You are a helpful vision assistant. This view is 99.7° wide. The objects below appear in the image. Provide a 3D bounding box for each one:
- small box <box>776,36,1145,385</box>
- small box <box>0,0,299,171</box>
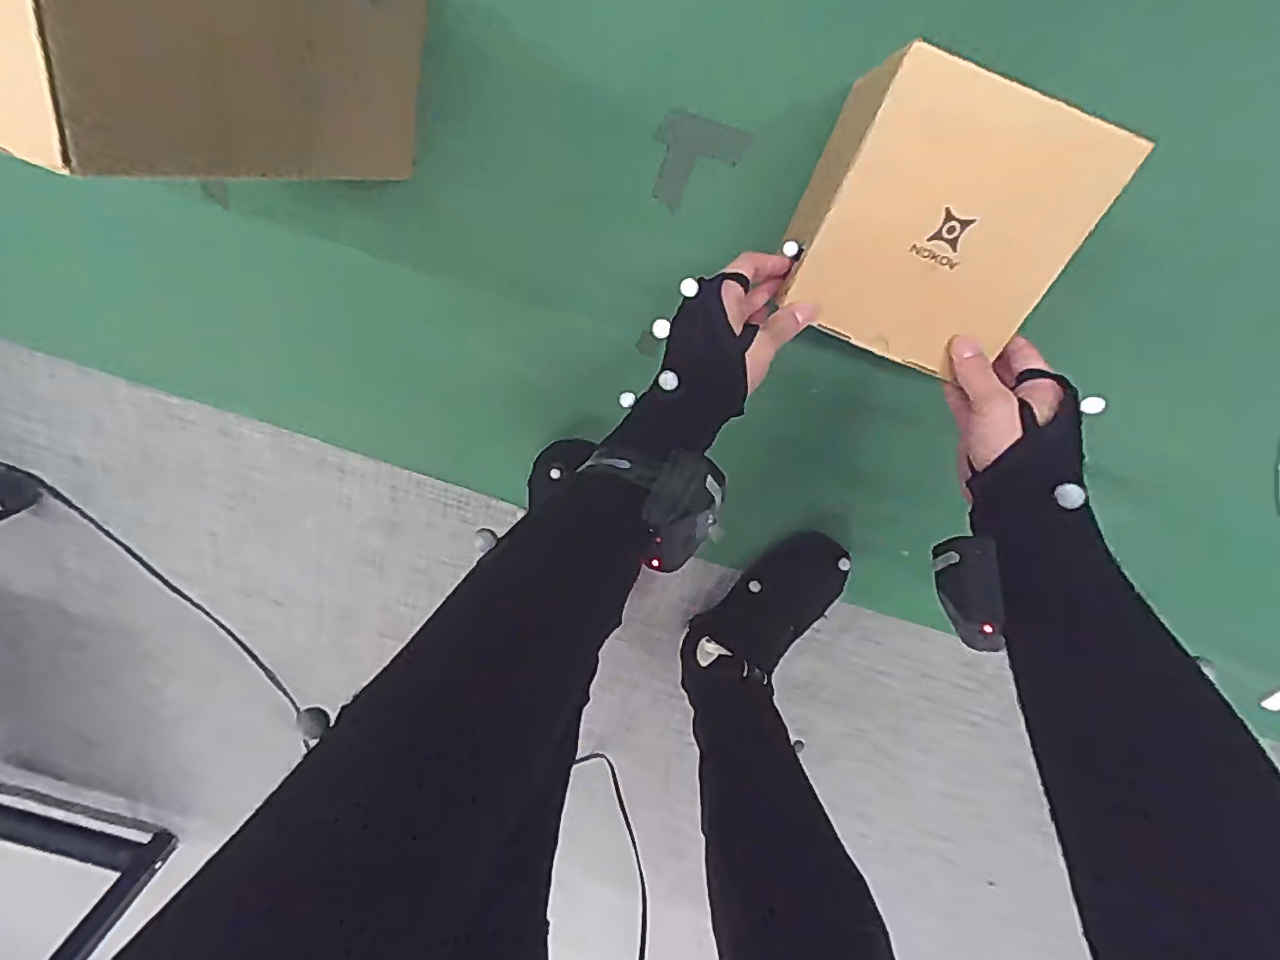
[{"bbox_3d":[0.222,-0.210,0.440,0.168,0.176,0.179,21,121,-3],"label":"small box"},{"bbox_3d":[-0.315,-0.289,0.290,0.168,0.176,0.179,21,120,-2],"label":"small box"}]
